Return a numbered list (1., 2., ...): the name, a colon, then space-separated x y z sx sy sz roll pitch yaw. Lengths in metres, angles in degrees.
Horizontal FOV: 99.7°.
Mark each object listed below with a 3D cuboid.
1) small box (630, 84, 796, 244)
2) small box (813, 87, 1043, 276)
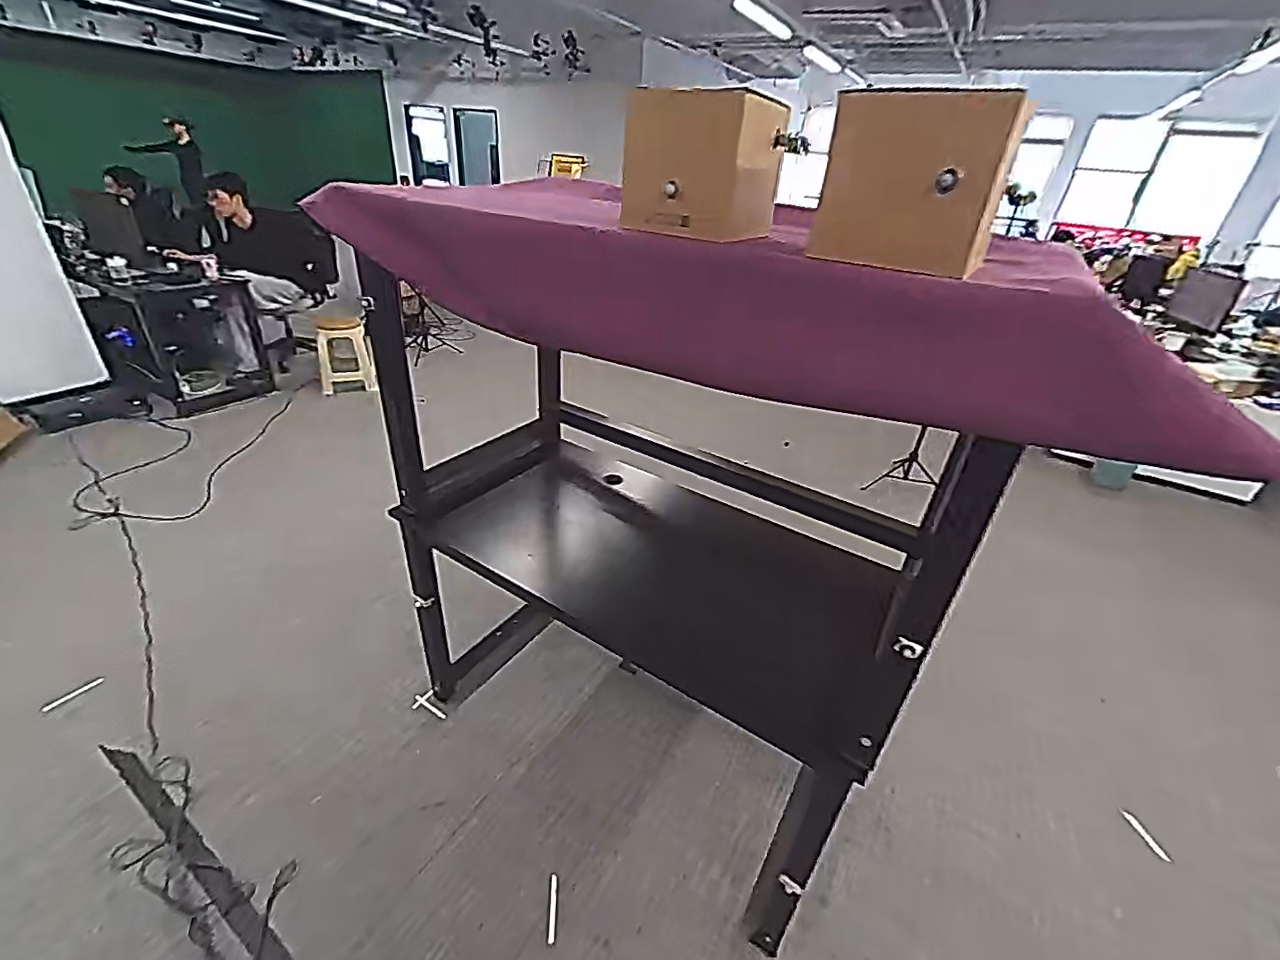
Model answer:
1. small box: 0.096 -0.433 0.753 0.168 0.176 0.179 20 33 25
2. small box: 0.323 -0.334 0.618 0.179 0.176 0.168 22 33 28
